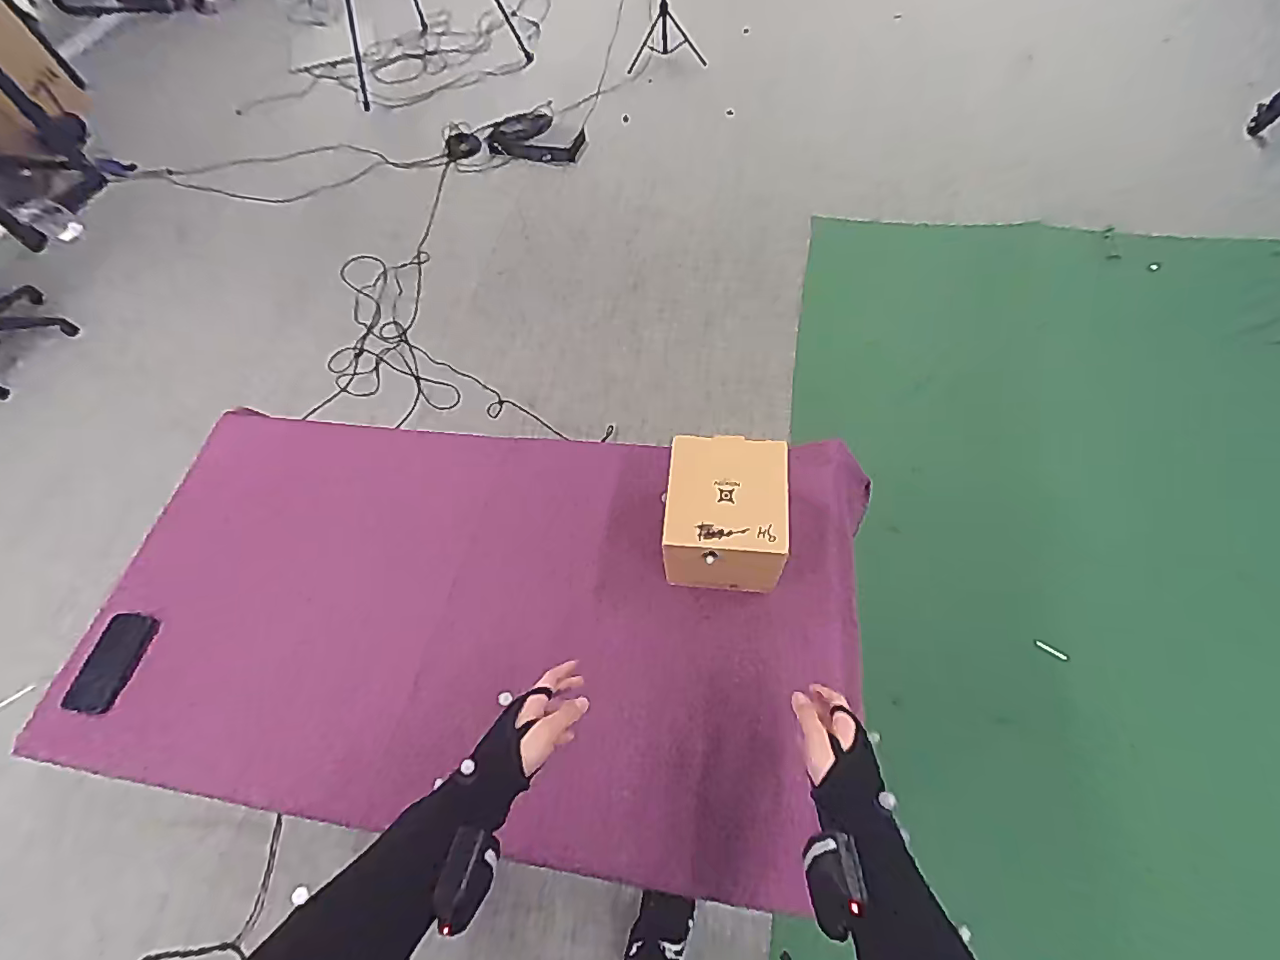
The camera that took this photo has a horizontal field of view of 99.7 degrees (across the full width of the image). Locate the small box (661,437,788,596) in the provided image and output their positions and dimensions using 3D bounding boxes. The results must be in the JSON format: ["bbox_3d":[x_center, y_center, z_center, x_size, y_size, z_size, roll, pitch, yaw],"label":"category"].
[{"bbox_3d":[0.125,0.057,0.809,0.168,0.176,0.179,4,60,8],"label":"small box"}]
